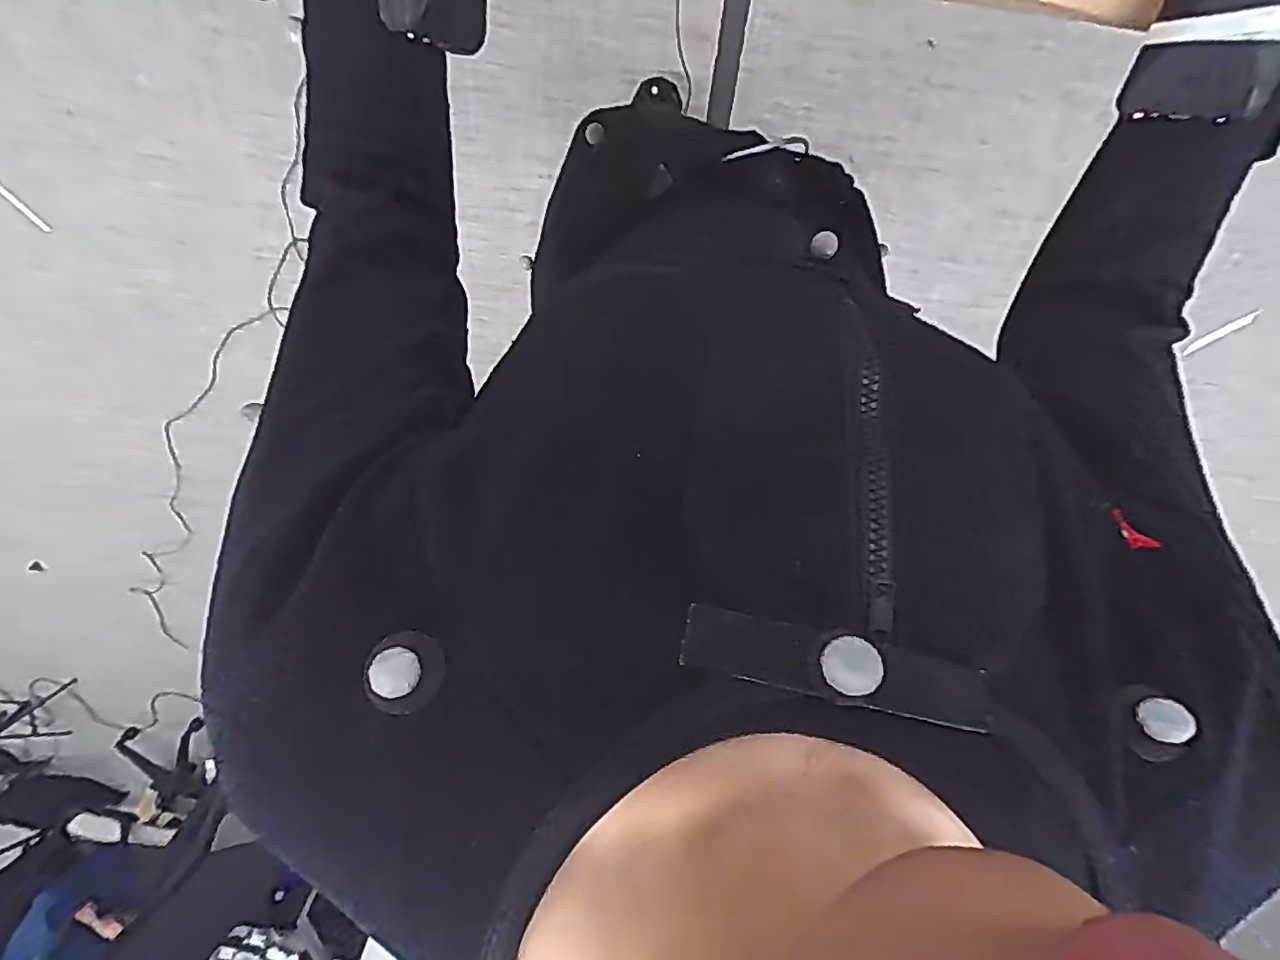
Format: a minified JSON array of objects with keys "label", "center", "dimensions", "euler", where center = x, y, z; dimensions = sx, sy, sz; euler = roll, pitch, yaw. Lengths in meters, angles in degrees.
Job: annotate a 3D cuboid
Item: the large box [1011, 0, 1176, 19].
[{"label":"large box","center":[0.130,-0.497,0.285],"dimensions":[0.408,0.320,0.320],"euler":[9,135,-7]}]
